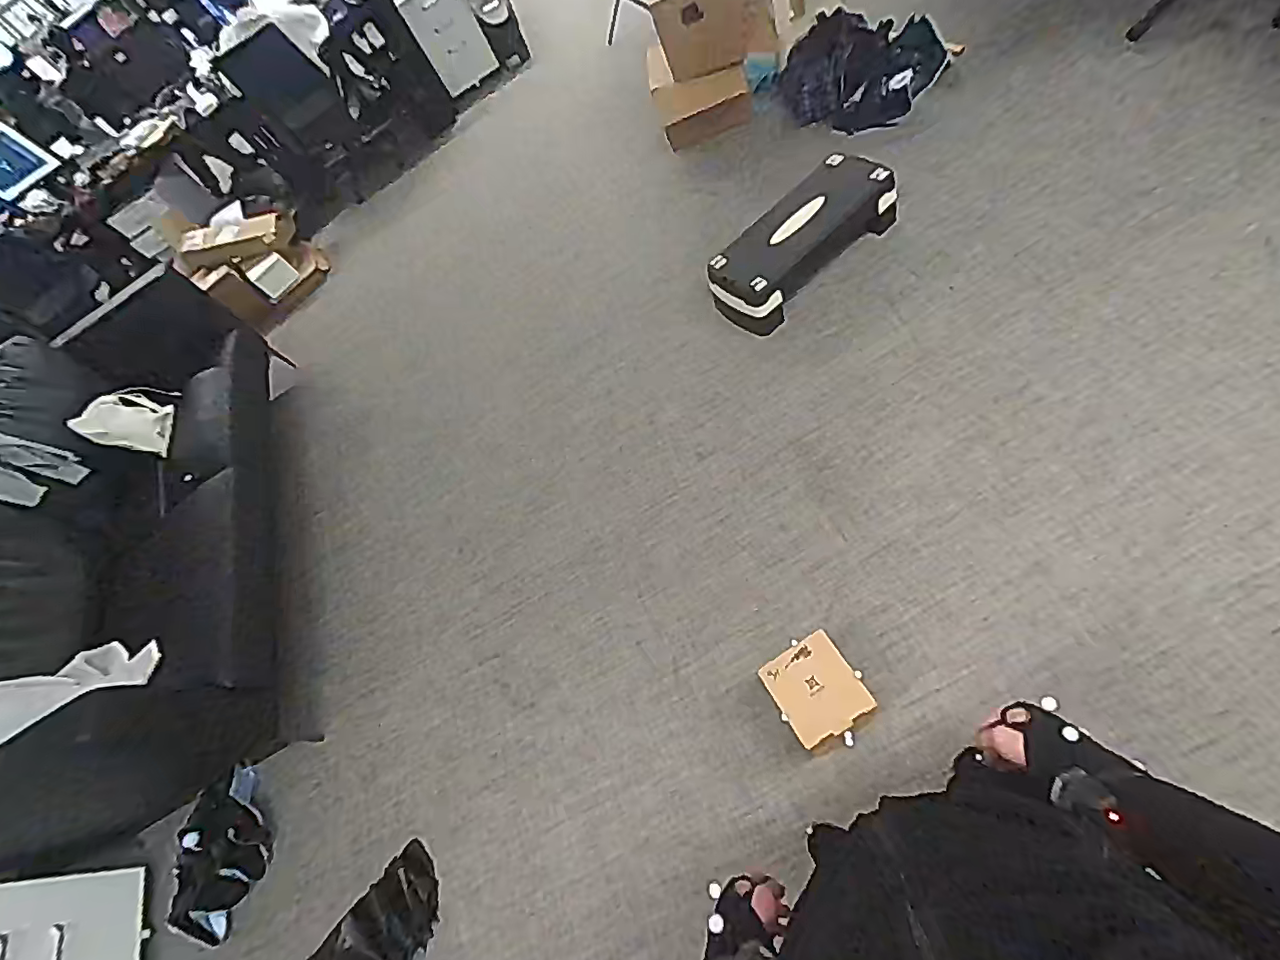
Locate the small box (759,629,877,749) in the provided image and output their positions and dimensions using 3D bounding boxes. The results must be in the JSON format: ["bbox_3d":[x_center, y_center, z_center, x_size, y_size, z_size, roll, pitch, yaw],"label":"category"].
[{"bbox_3d":[0.383,0.448,1.153,0.168,0.176,0.179,-35,56,4],"label":"small box"}]

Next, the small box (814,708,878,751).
[{"bbox_3d":[0.439,0.522,1.287,0.168,0.176,0.179,-36,56,3],"label":"small box"}]
